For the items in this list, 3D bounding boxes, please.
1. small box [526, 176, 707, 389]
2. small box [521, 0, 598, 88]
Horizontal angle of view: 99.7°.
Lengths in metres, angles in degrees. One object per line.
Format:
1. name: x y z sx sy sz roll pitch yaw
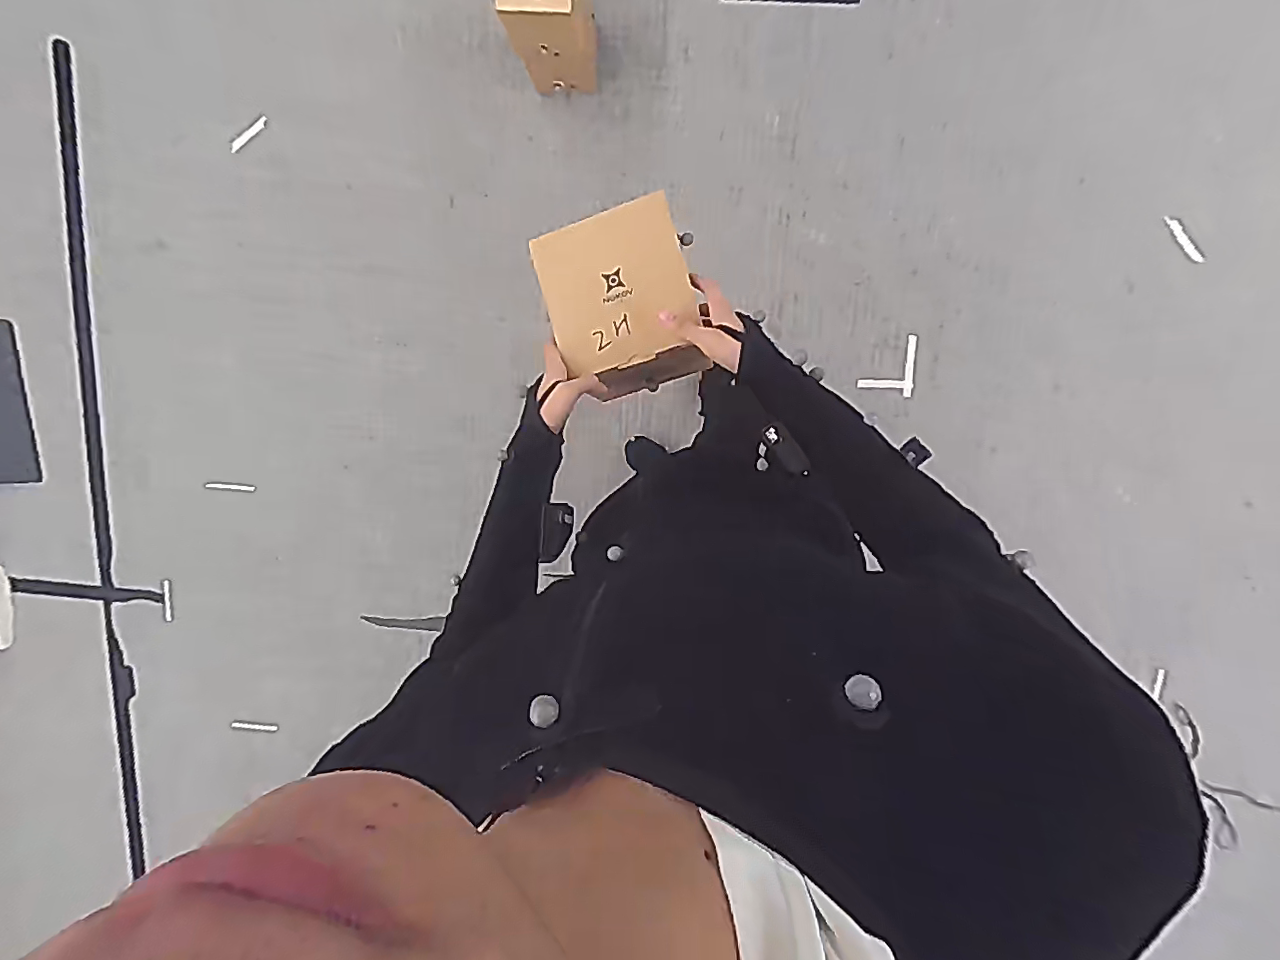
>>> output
1. small box: -0.019 -0.229 0.676 0.168 0.176 0.179 -17 89 10
2. small box: -0.201 -1.141 1.374 0.168 0.176 0.179 2 98 3
